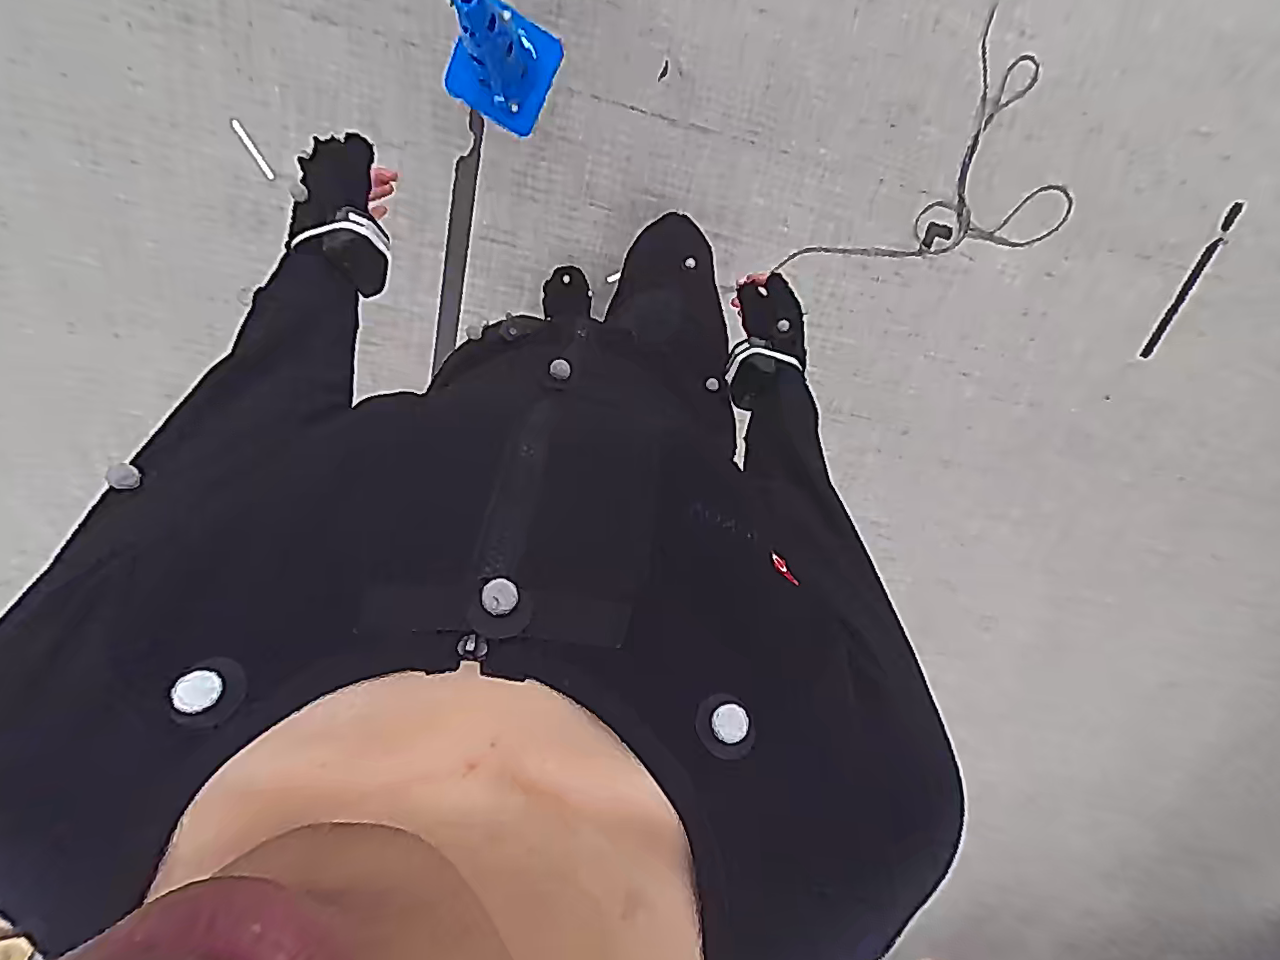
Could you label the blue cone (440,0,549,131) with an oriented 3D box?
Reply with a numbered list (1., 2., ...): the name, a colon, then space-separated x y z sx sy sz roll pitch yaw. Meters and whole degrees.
1. blue cone: -0.293 -0.809 0.989 0.192 0.380 0.193 27 108 -14
